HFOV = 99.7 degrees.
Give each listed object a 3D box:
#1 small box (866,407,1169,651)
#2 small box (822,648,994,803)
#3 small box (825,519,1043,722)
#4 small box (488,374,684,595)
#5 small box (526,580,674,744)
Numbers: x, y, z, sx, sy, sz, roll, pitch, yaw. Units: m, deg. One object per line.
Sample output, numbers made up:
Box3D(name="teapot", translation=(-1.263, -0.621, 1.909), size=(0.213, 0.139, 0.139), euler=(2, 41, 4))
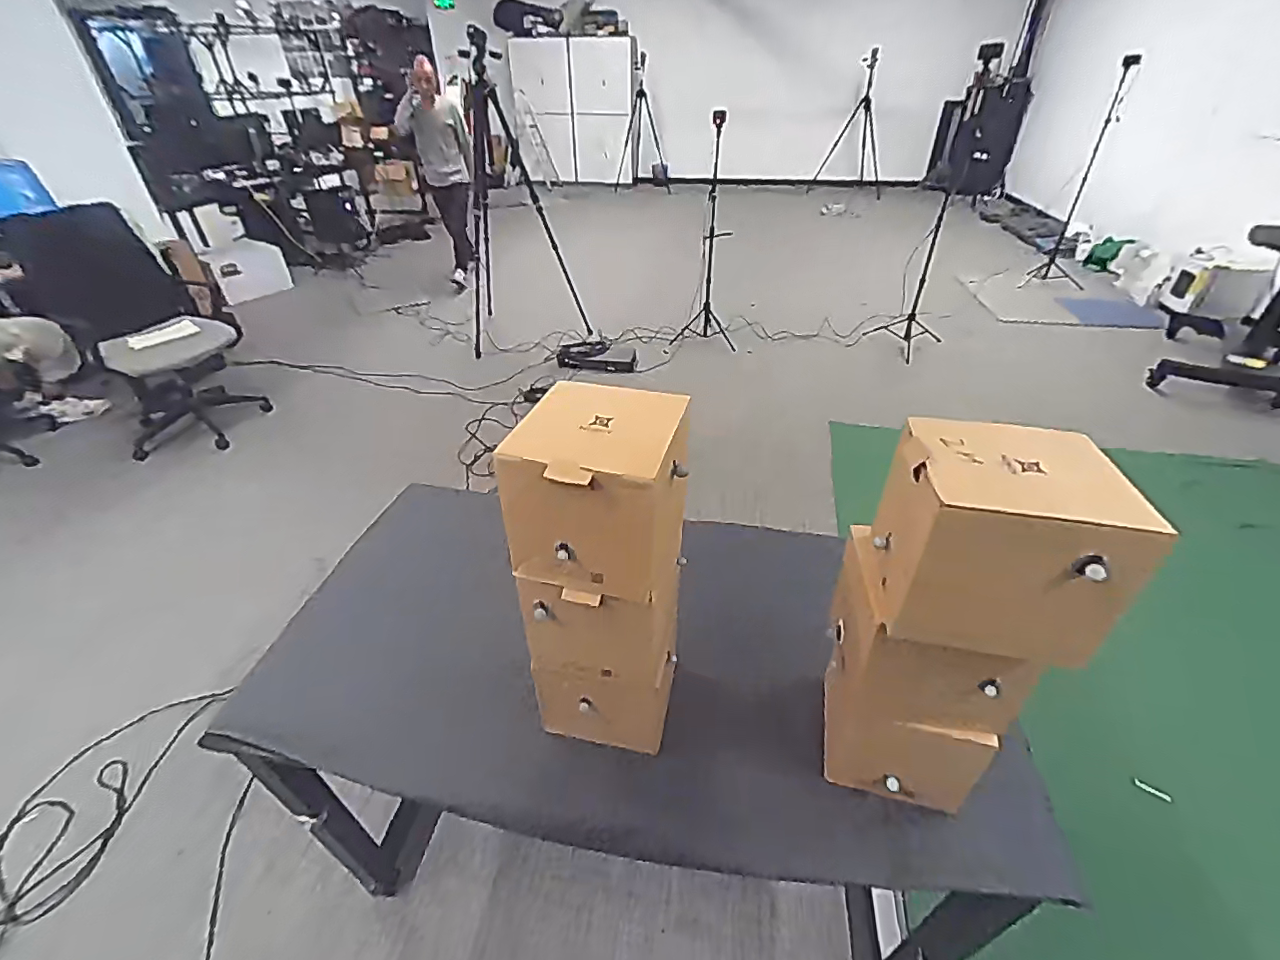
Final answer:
Box3D(name="small box", translation=(0.343, 0.045, 0.539), size=(0.179, 0.176, 0.168), euler=(6, 34, 11))
Box3D(name="small box", translation=(0.349, 0.300, 0.744), size=(0.168, 0.176, 0.179), euler=(8, 37, 13))
Box3D(name="small box", translation=(0.336, 0.167, 0.653), size=(0.179, 0.176, 0.168), euler=(3, 34, 8))
Box3D(name="small box", translation=(-0.050, -0.001, 0.616), size=(0.168, 0.176, 0.179), euler=(9, 37, 12))
Box3D(name="small box", translation=(-0.048, 0.266, 0.807), size=(0.179, 0.176, 0.168), euler=(6, 37, 11))
